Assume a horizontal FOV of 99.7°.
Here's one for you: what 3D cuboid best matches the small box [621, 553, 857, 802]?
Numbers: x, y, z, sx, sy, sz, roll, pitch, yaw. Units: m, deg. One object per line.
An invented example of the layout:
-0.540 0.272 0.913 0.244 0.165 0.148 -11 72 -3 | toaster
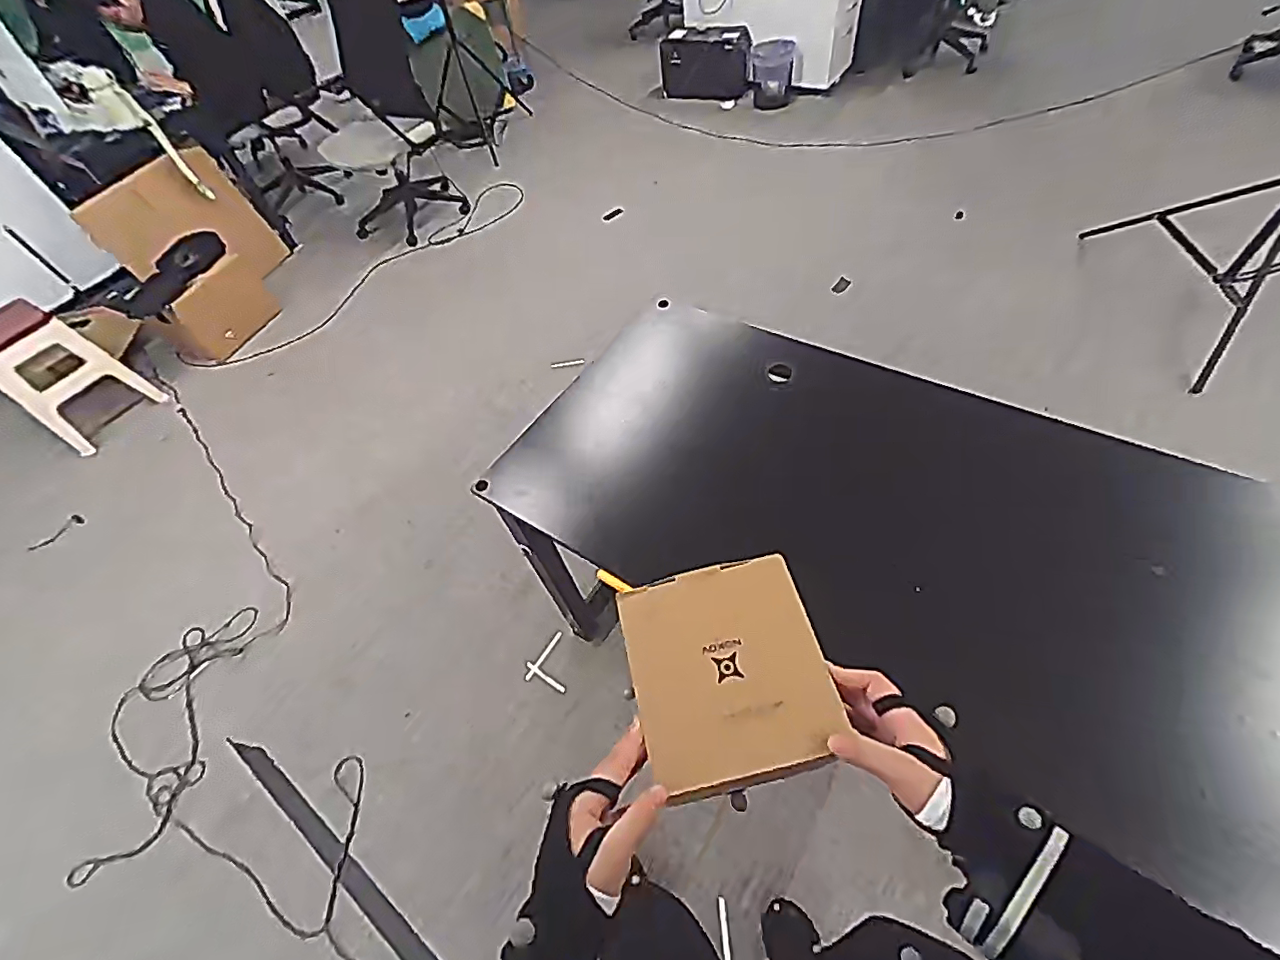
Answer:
0.084 0.200 0.537 0.168 0.176 0.179 -14 57 -2 | small box
